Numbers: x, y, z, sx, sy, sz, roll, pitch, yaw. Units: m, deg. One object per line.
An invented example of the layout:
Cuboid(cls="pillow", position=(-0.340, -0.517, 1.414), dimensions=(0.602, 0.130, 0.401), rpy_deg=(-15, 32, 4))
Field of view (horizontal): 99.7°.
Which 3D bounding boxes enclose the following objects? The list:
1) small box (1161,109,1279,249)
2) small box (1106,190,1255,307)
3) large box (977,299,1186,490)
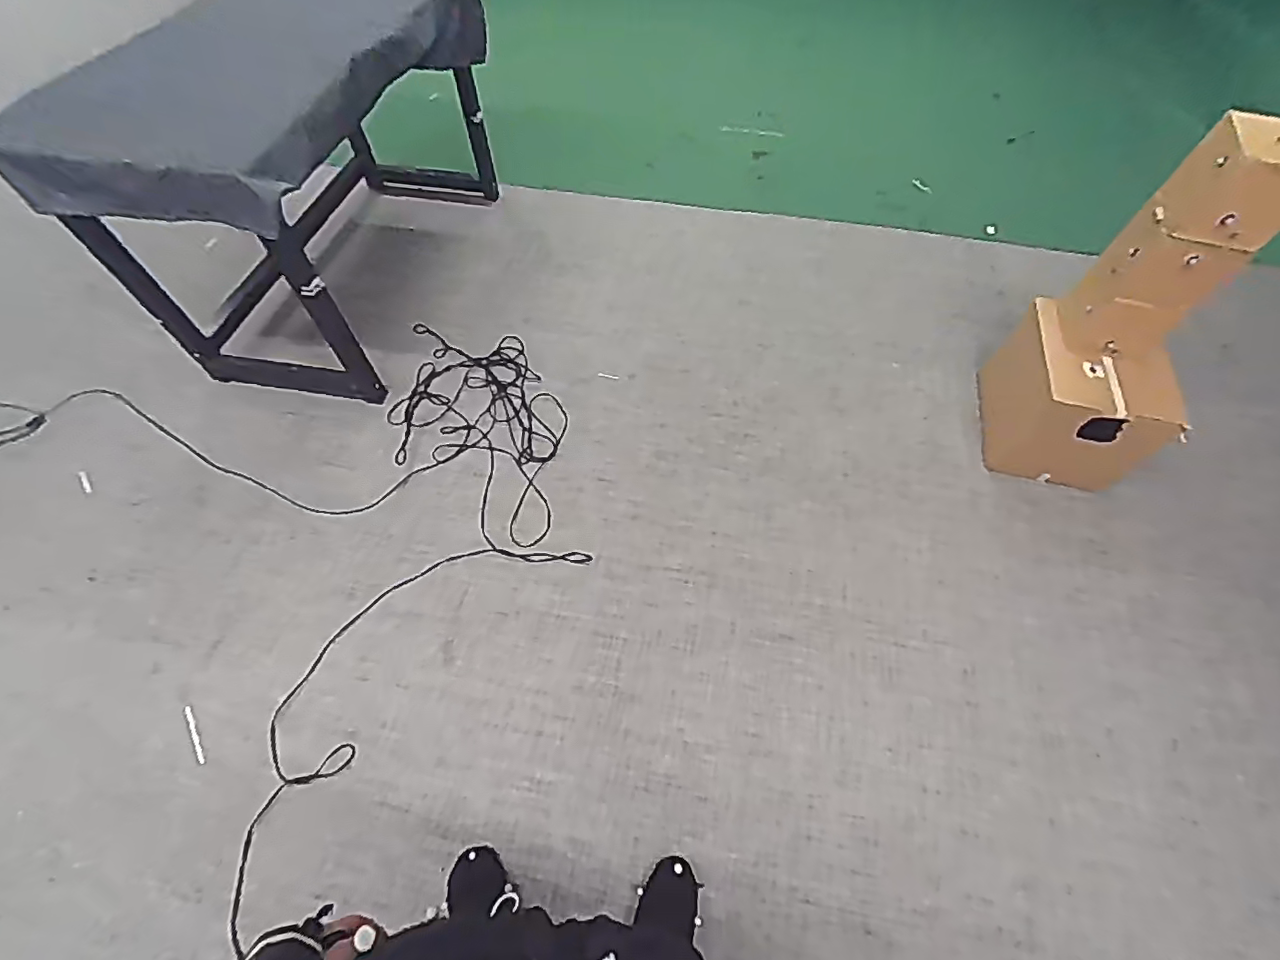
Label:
Cuboid(cls="small box", position=(1.216, -0.606, 1.096), dimensions=(0.168, 0.176, 0.179), rpy_deg=(17, 63, 8))
Cuboid(cls="small box", position=(1.214, -0.524, 1.237), dimensions=(0.179, 0.176, 0.168), rpy_deg=(16, 62, 8))
Cuboid(cls="large box", position=(1.211, -0.241, 1.541), dimensions=(0.320, 0.320, 0.408), rpy_deg=(12, 60, 8))
